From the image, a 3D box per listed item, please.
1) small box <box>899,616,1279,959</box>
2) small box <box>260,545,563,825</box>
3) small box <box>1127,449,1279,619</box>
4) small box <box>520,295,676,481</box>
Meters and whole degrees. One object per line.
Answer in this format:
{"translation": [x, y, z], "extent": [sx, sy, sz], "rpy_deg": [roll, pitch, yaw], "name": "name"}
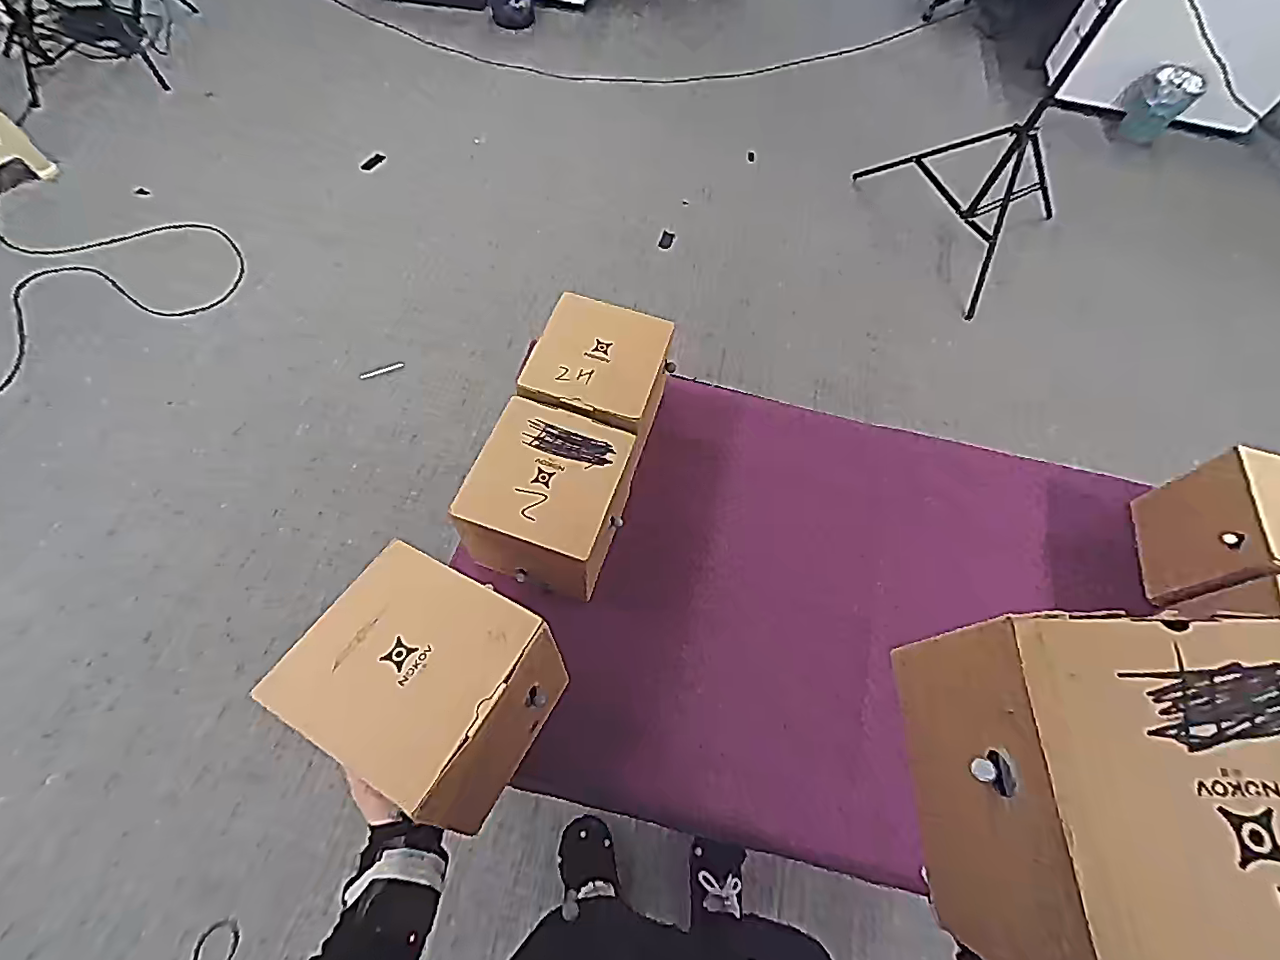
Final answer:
{"translation": [0.275, 0.183, 0.318], "extent": [0.168, 0.176, 0.179], "rpy_deg": [-1, 67, 3], "name": "small box"}
{"translation": [-0.190, 0.197, 0.511], "extent": [0.179, 0.176, 0.168], "rpy_deg": [22, 55, 17], "name": "small box"}
{"translation": [0.832, 0.090, 0.751], "extent": [0.168, 0.176, 0.179], "rpy_deg": [17, 61, 4], "name": "small box"}
{"translation": [-0.058, -0.128, 0.785], "extent": [0.168, 0.176, 0.179], "rpy_deg": [17, 62, 4], "name": "small box"}
